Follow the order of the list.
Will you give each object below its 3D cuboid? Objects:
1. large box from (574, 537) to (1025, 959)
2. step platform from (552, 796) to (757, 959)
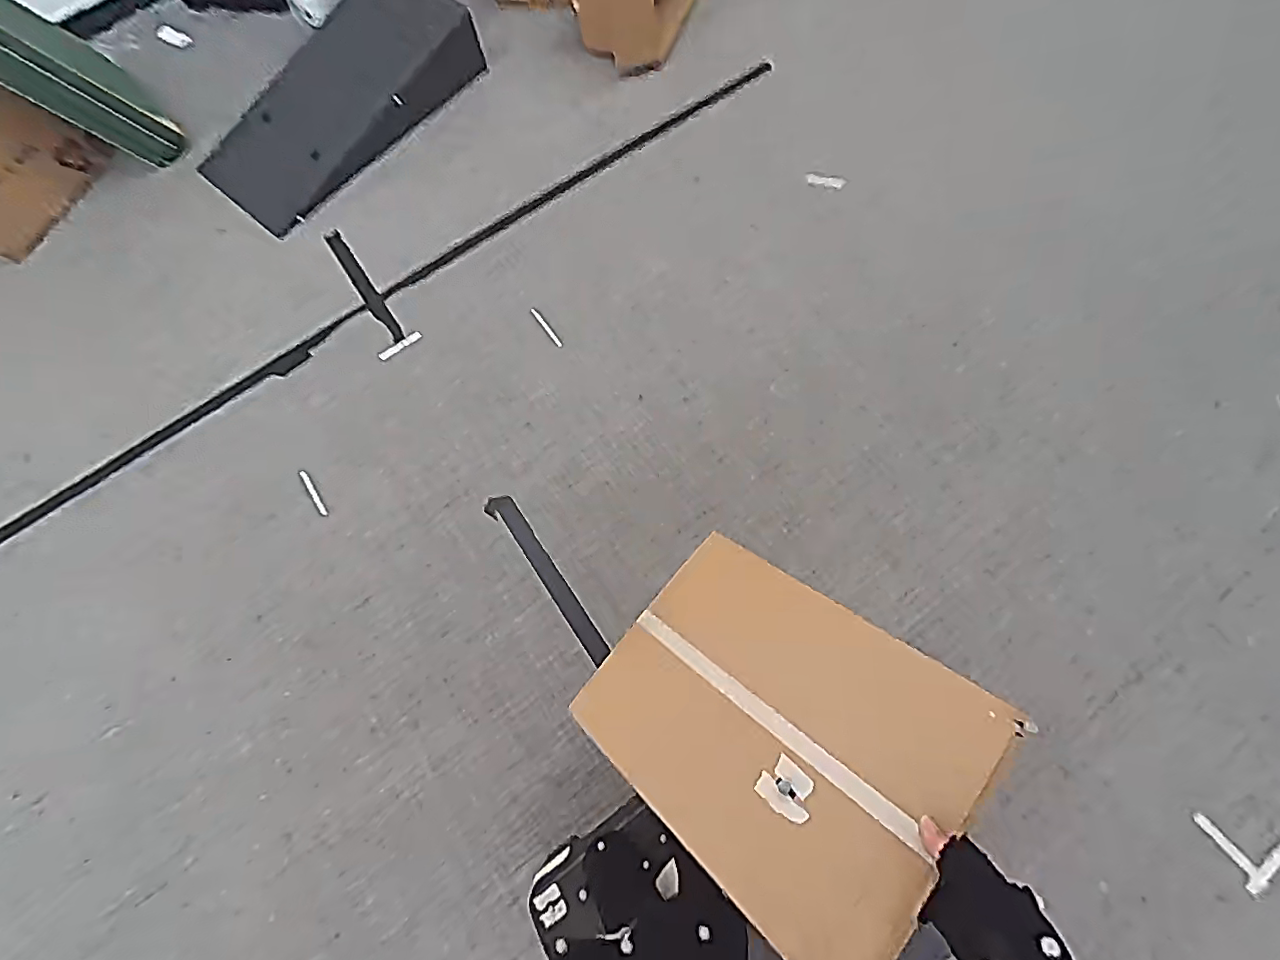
[{"bbox_3d":[0.196,0.346,0.716,0.408,0.320,0.320,29,73,40],"label":"large box"},{"bbox_3d":[0.159,0.710,1.109,0.684,0.204,0.286,-36,73,-9],"label":"step platform"}]
